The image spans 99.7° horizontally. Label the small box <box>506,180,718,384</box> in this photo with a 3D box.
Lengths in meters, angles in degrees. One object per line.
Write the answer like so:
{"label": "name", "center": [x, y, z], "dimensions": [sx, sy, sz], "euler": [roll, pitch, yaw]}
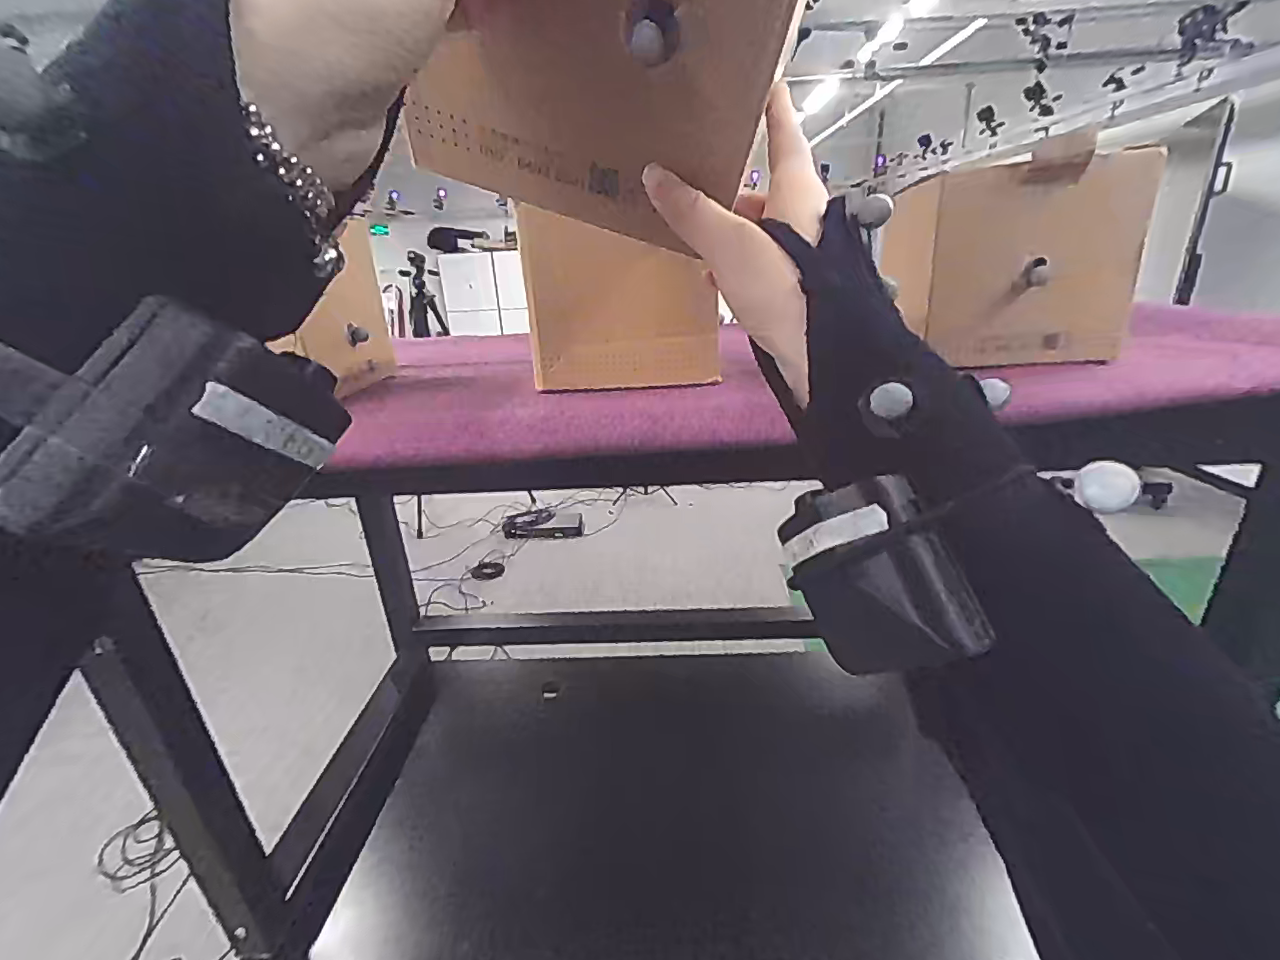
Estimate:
{"label": "small box", "center": [-0.018, -0.193, 0.539], "dimensions": [0.179, 0.176, 0.168], "euler": [-2, 20, 2]}

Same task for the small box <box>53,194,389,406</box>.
{"label": "small box", "center": [-0.380, -0.173, 0.532], "dimensions": [0.179, 0.176, 0.168], "euler": [-2, 23, 2]}

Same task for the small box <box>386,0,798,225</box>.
{"label": "small box", "center": [-0.006, -0.251, 0.243], "dimensions": [0.168, 0.176, 0.179], "euler": [19, 60, 1]}

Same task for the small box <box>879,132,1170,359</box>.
{"label": "small box", "center": [0.343, -0.213, 0.526], "dimensions": [0.168, 0.176, 0.179], "euler": [-1, 20, 9]}
